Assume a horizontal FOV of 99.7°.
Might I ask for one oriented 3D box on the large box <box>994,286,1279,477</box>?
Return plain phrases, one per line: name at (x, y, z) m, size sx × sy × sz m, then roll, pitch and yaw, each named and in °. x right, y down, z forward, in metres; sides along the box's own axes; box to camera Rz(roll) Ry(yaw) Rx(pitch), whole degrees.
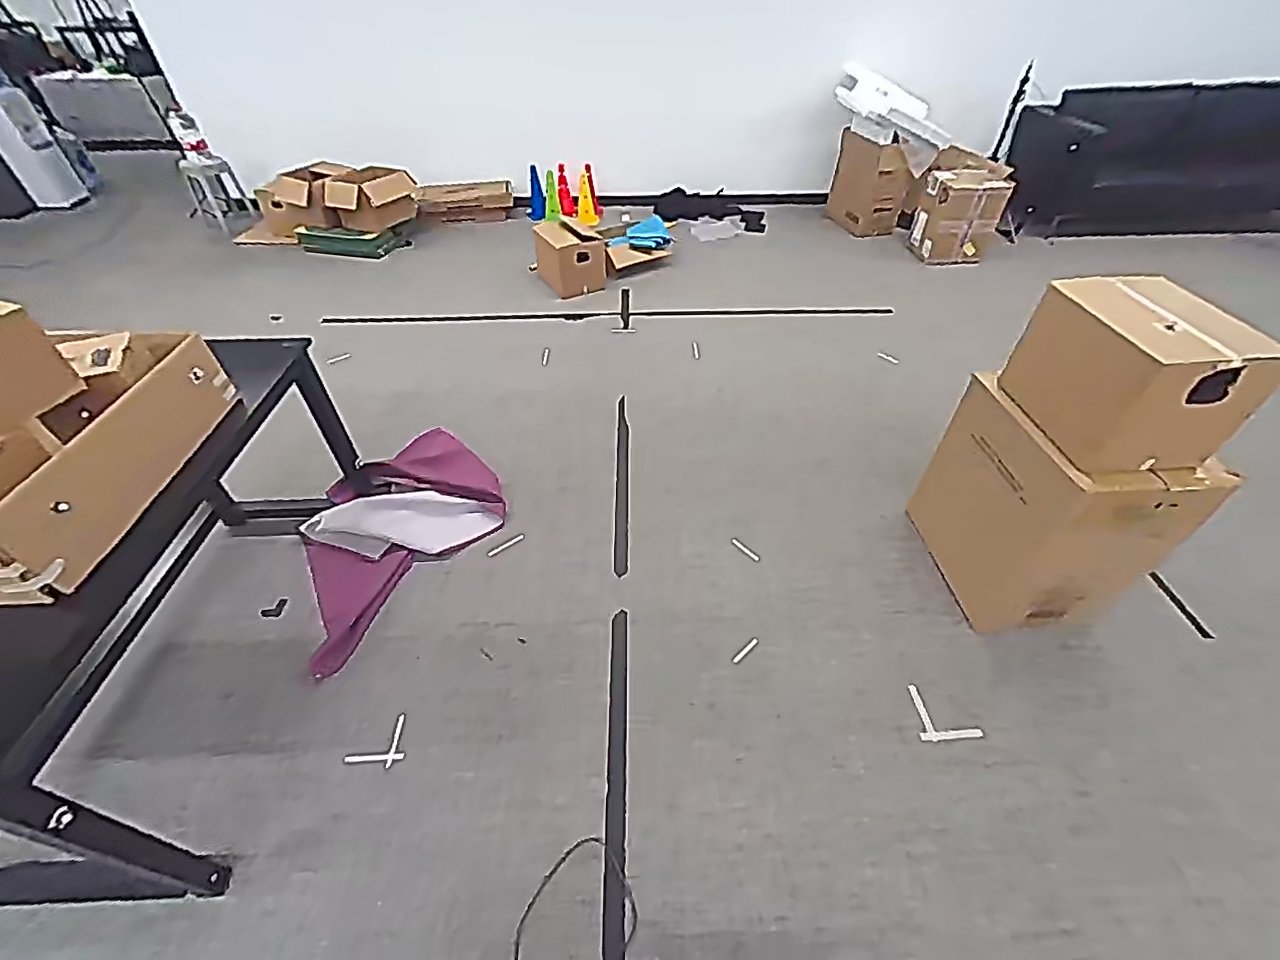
large box at (1.212, -0.257, 1.371) m, size 0.320 × 0.320 × 0.408 m, roll -3°, pitch 44°, yaw -3°
